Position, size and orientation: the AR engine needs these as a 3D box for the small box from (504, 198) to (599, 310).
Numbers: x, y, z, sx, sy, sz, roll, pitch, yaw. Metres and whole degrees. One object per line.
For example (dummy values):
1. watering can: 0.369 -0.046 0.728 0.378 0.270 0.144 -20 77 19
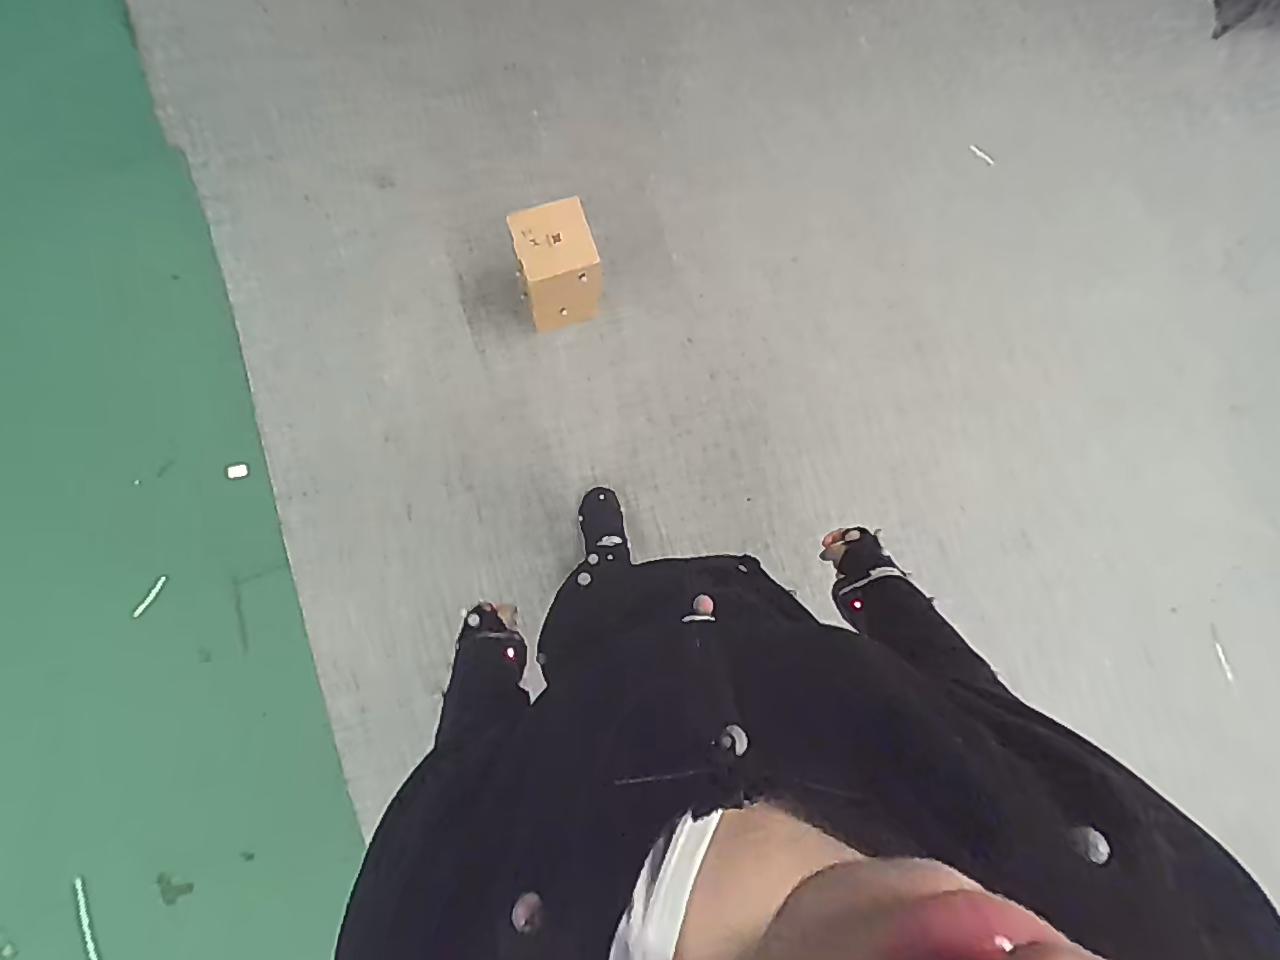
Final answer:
1. small box: -0.207 -0.534 1.295 0.179 0.176 0.168 -19 88 -6

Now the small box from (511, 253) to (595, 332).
1. small box: -0.231 -0.522 1.458 0.179 0.176 0.168 -20 89 -6
